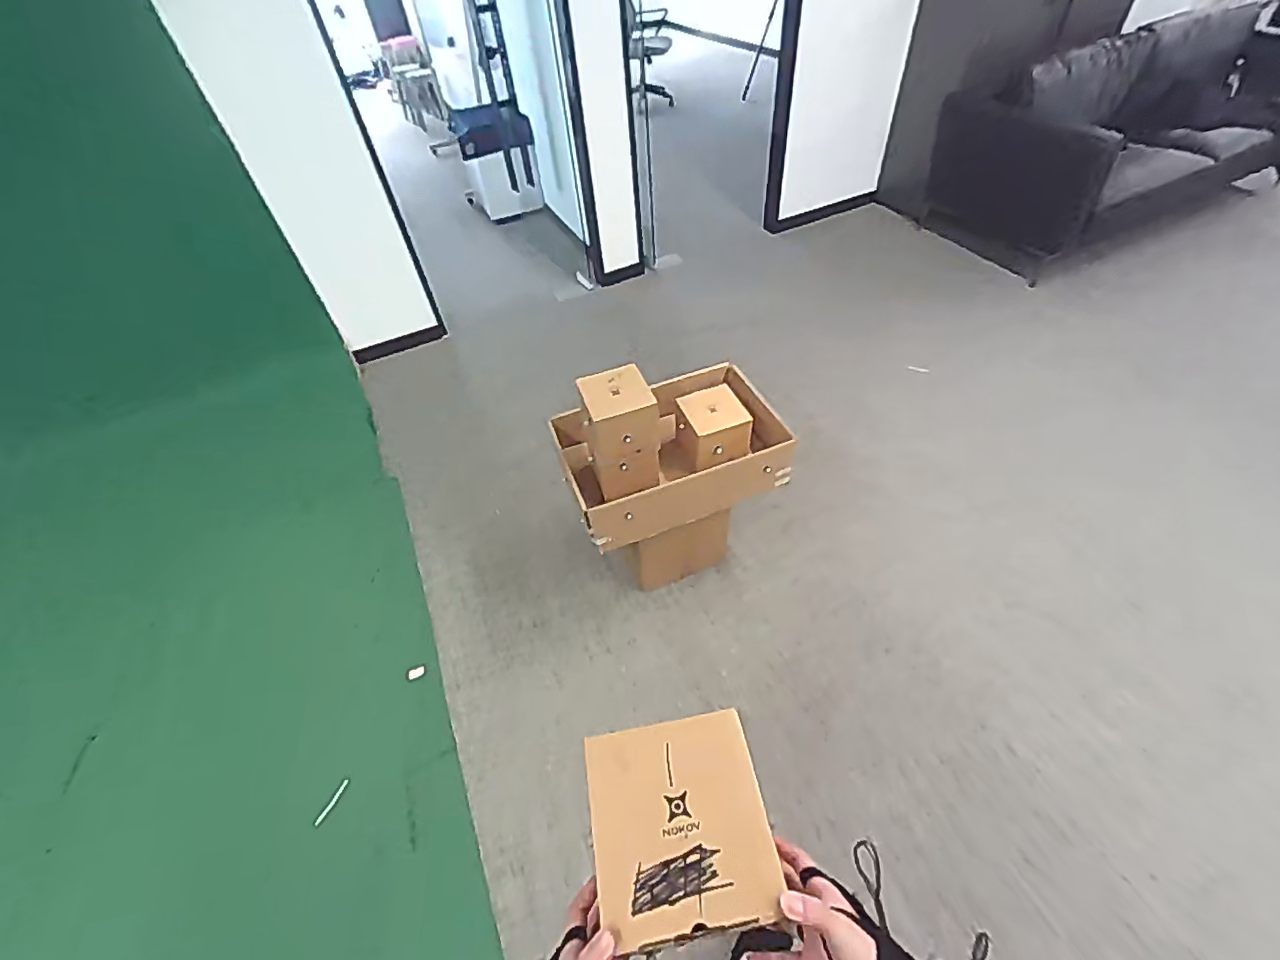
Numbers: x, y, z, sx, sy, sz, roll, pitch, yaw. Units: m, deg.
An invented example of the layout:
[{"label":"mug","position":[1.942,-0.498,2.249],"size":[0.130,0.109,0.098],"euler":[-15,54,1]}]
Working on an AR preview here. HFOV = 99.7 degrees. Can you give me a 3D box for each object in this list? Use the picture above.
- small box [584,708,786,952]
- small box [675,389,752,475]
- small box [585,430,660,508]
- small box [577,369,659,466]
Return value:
[{"label":"small box","position":[0.041,0.370,0.571],"size":[0.168,0.176,0.179],"euler":[-10,48,-3]},{"label":"small box","position":[0.214,-0.134,1.591],"size":[0.168,0.176,0.179],"euler":[-18,49,-10]},{"label":"small box","position":[-0.048,-0.051,1.542],"size":[0.168,0.176,0.179],"euler":[-17,48,-8]},{"label":"small box","position":[-0.055,-0.156,1.416],"size":[0.168,0.176,0.179],"euler":[-17,49,-10]}]
